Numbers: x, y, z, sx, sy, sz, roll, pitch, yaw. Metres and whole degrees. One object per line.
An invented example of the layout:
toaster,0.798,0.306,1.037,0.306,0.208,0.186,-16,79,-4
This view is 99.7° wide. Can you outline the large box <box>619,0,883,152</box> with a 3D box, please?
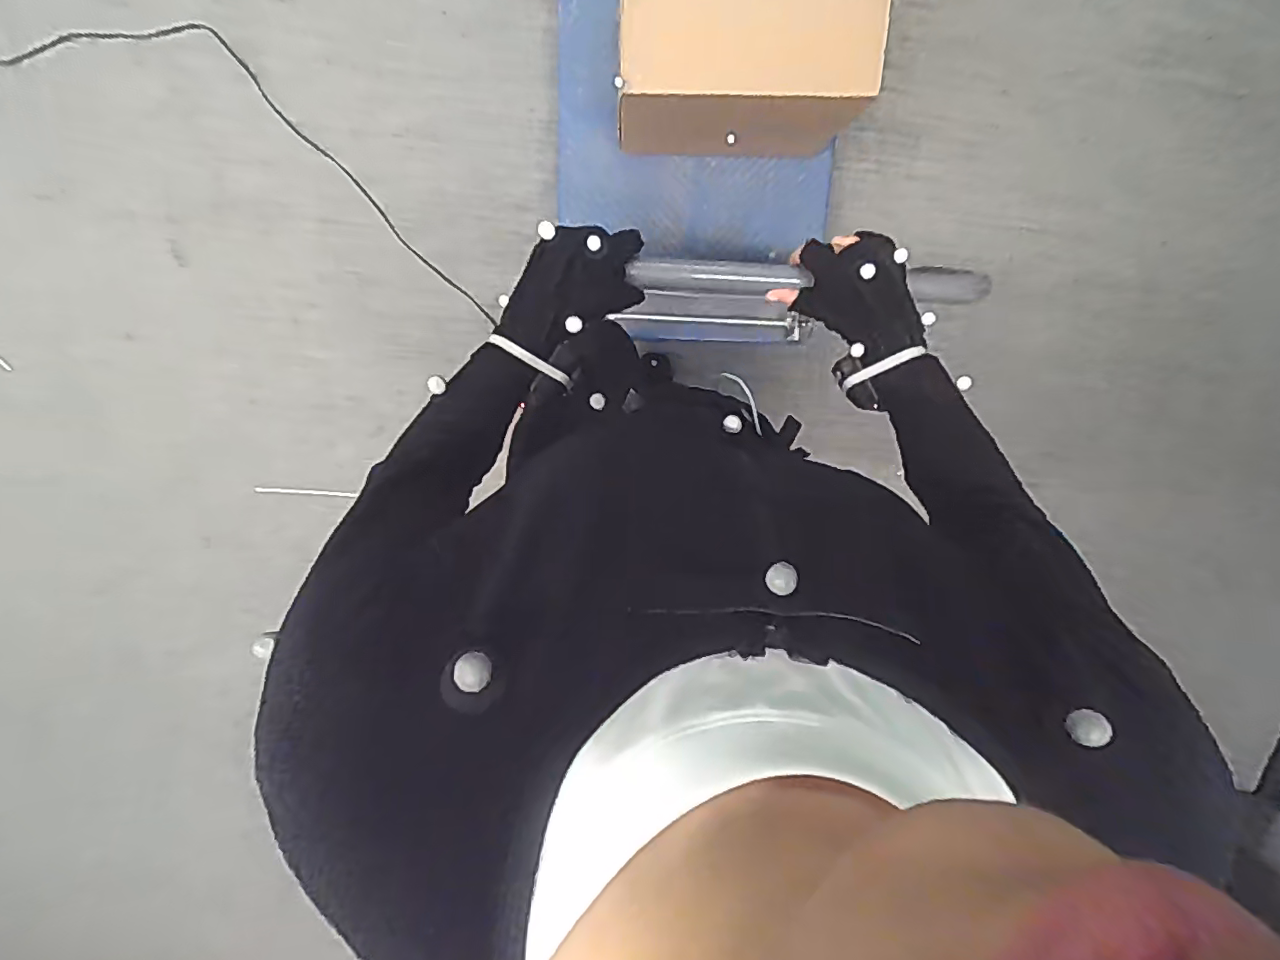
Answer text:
large box,0.167,-0.791,0.947,0.408,0.320,0.320,-1,105,-2
